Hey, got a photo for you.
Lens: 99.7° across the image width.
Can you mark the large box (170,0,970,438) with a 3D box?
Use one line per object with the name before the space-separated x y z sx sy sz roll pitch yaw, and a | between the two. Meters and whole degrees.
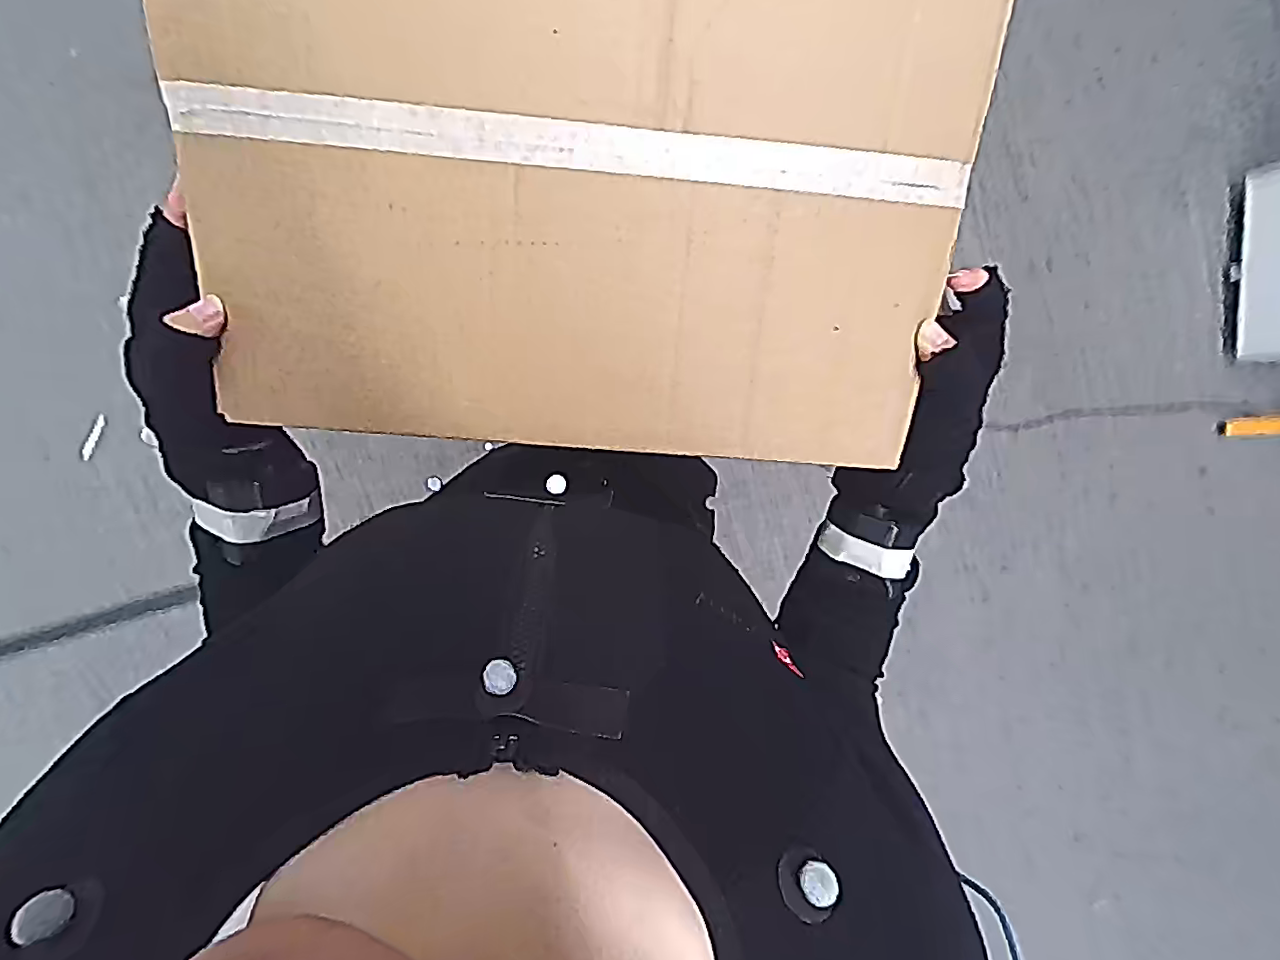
large box | -0.042 -0.223 0.430 0.408 0.320 0.320 2 109 -3
